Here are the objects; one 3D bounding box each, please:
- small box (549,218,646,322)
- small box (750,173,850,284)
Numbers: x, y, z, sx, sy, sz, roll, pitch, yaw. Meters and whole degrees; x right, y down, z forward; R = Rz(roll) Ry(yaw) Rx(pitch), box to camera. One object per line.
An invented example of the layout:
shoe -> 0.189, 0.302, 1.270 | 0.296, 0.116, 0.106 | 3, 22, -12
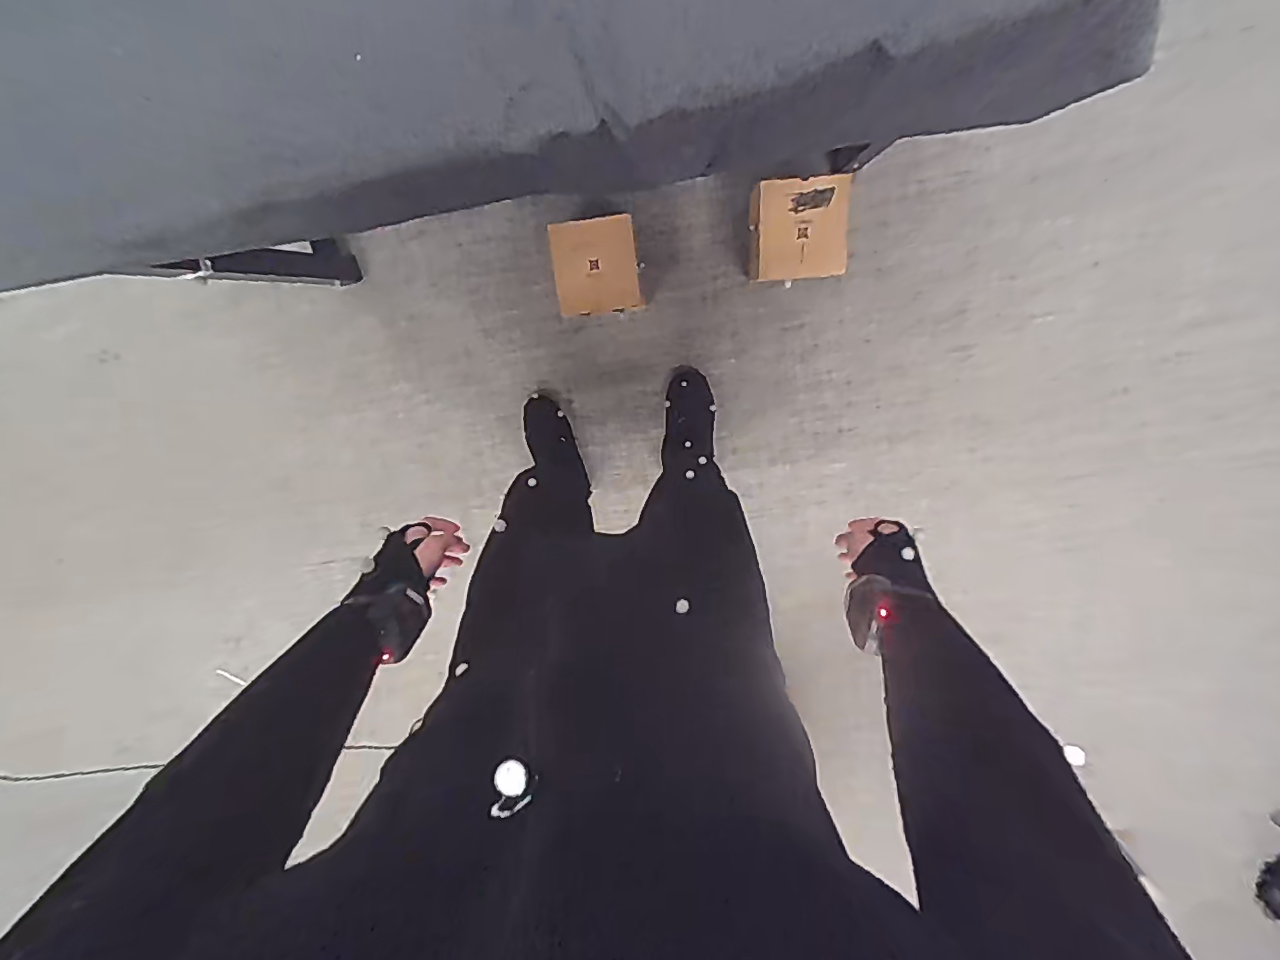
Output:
small box -> -0.081, -0.437, 1.148 | 0.168, 0.176, 0.179 | -7, 105, 6
small box -> 0.313, -0.495, 1.087 | 0.168, 0.176, 0.179 | -3, 108, 6
